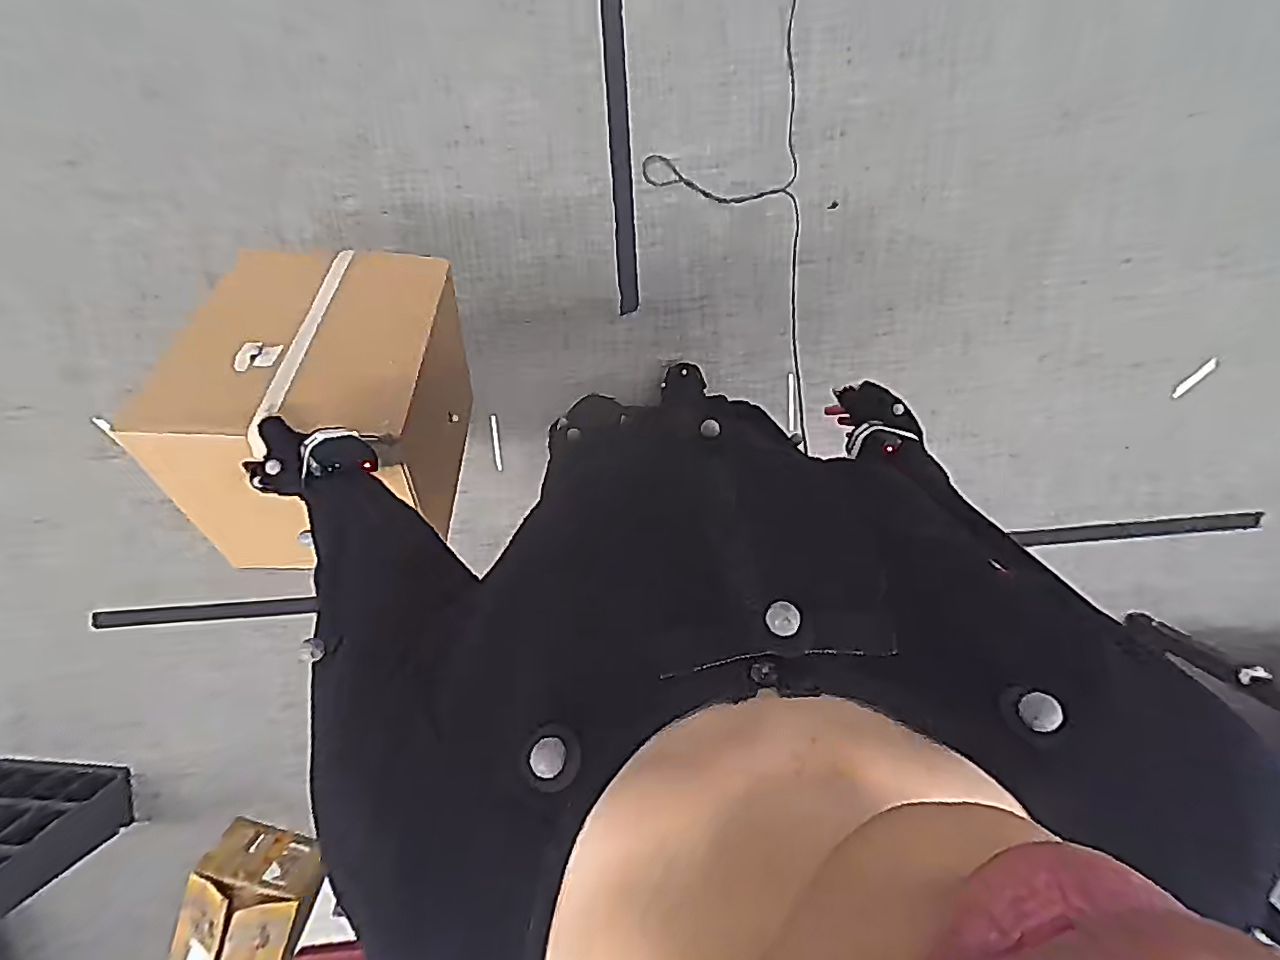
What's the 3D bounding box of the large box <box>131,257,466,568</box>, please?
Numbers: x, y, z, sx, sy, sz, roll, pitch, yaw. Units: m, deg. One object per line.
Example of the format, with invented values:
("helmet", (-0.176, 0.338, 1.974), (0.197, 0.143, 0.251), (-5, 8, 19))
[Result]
("large box", (-0.475, -0.106, 0.879), (0.320, 0.408, 0.320), (0, 142, -8))
